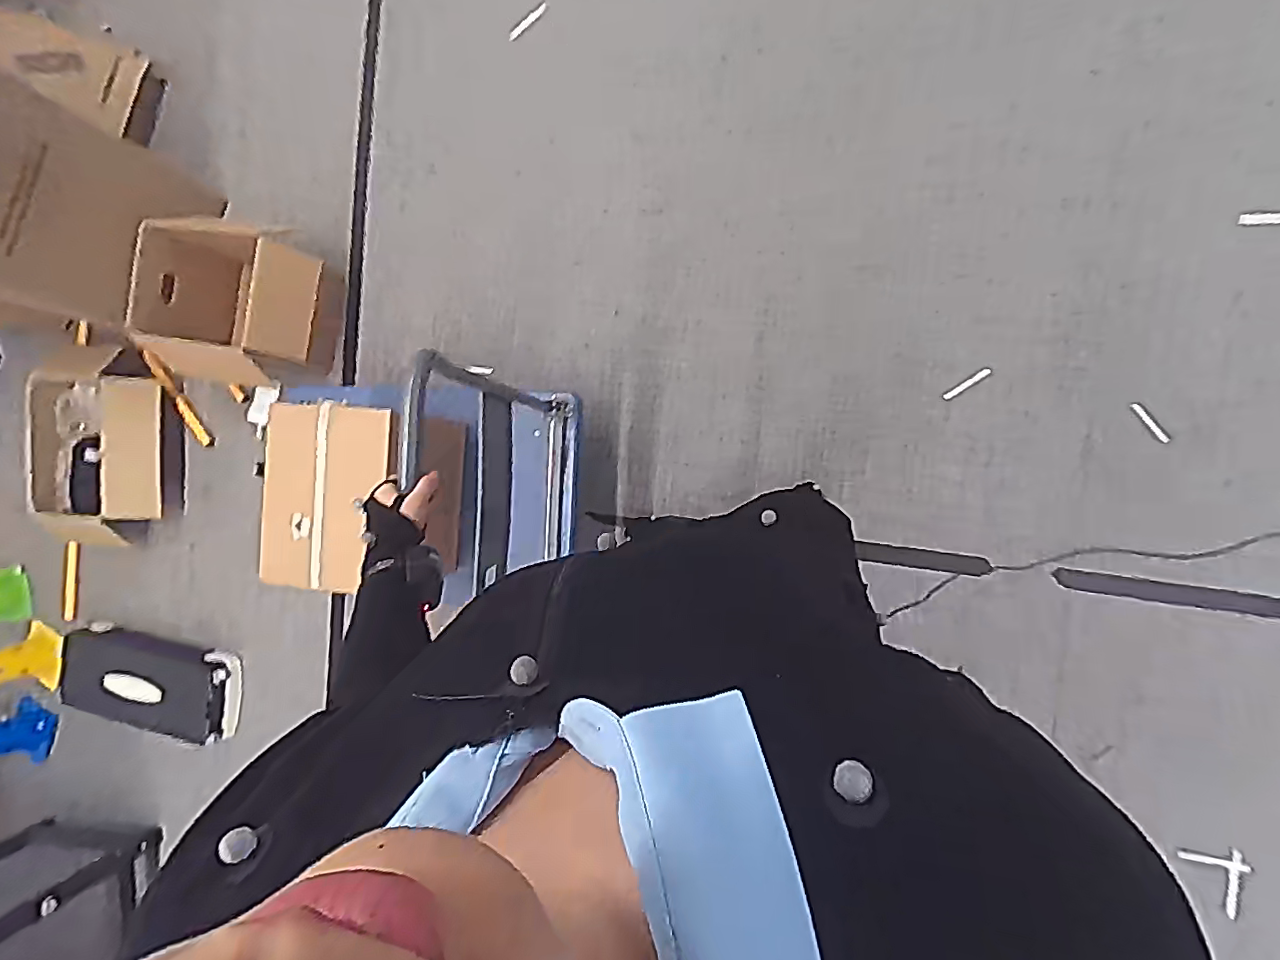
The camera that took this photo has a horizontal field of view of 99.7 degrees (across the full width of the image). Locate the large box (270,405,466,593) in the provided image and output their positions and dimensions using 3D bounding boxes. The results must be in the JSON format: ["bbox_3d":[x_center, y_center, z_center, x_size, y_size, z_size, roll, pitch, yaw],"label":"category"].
[{"bbox_3d":[-0.650,0.031,1.333,0.320,0.320,0.408,5,93,13],"label":"large box"}]
